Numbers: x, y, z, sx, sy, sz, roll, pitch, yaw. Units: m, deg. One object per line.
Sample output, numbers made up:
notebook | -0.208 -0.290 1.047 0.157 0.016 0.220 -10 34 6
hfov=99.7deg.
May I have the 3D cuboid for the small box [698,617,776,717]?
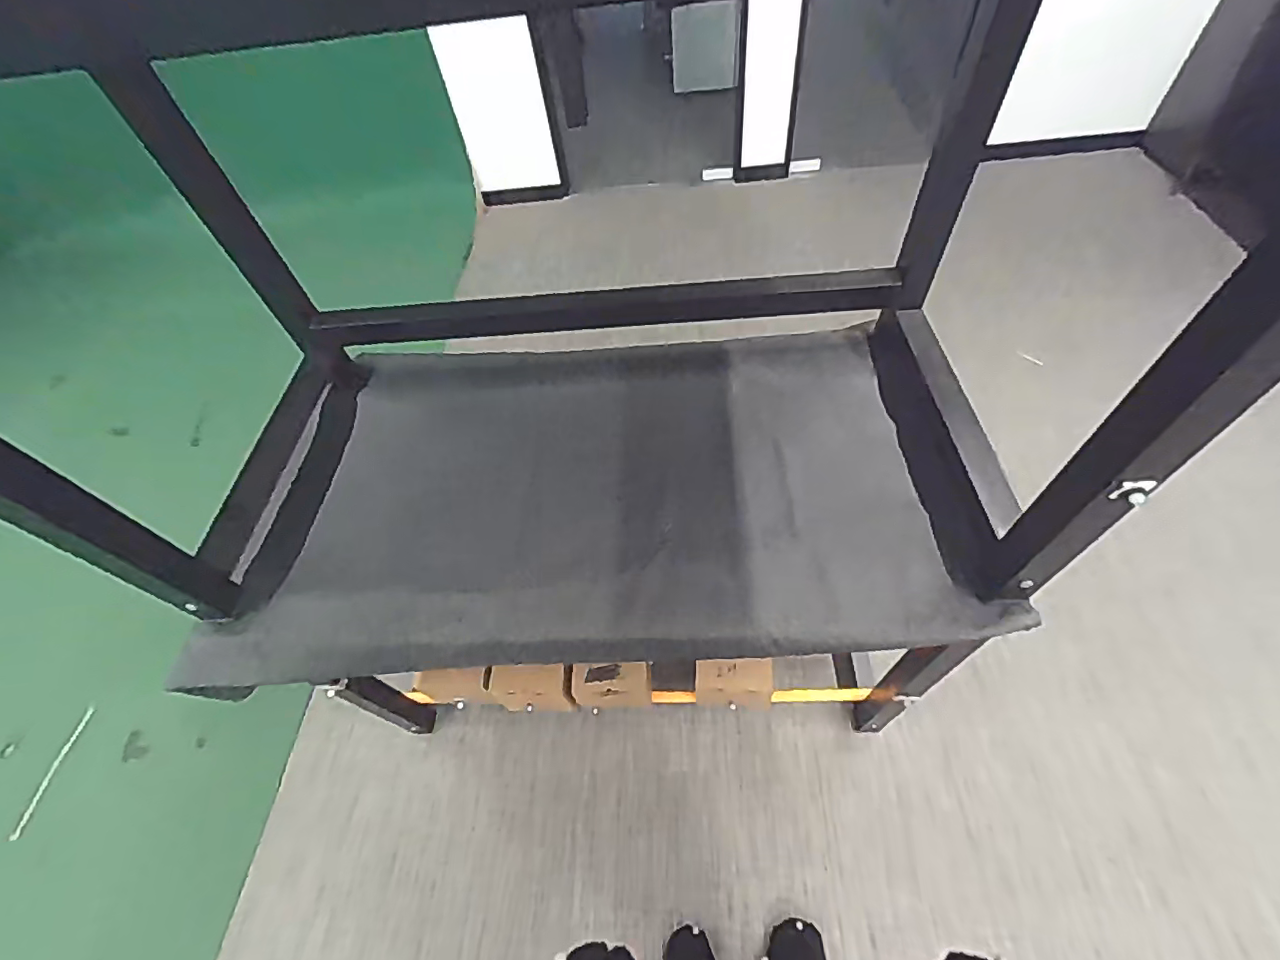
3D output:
small box | 0.222 0.436 1.259 0.168 0.176 0.179 1 56 9
